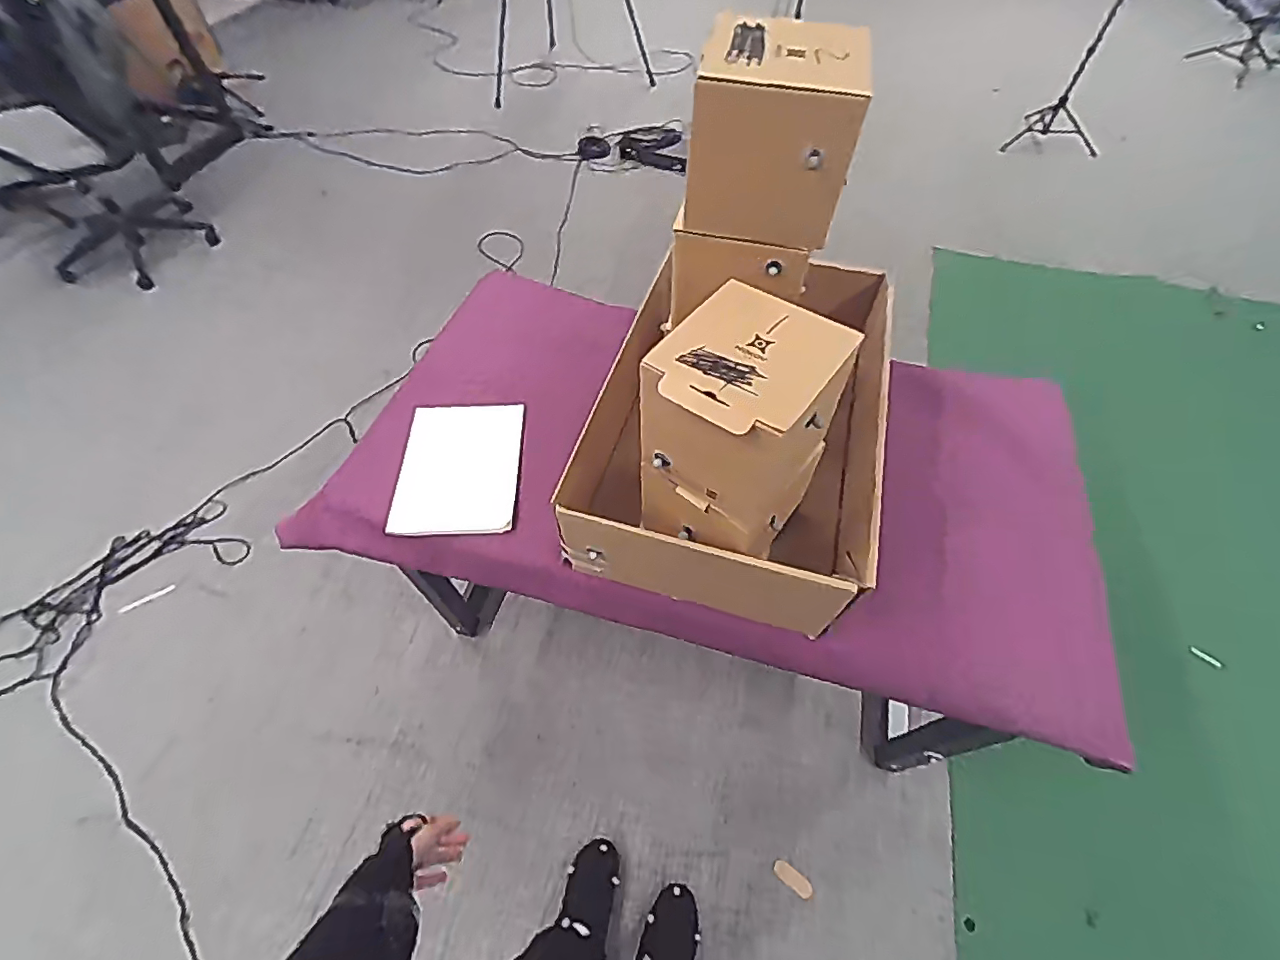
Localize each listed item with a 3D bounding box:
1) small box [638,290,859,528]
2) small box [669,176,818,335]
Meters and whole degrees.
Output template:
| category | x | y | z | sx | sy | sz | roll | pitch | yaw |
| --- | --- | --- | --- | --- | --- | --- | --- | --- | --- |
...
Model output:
| category | x | y | z | sx | sy | sz | roll | pitch | yaw |
| --- | --- | --- | --- | --- | --- | --- | --- | --- | --- |
| small box | 0.116 | -0.077 | 0.617 | 0.168 | 0.176 | 0.179 | 32 | 59 | 22 |
| small box | 0.143 | -0.306 | 0.781 | 0.179 | 0.176 | 0.168 | 12 | 58 | 8 |
